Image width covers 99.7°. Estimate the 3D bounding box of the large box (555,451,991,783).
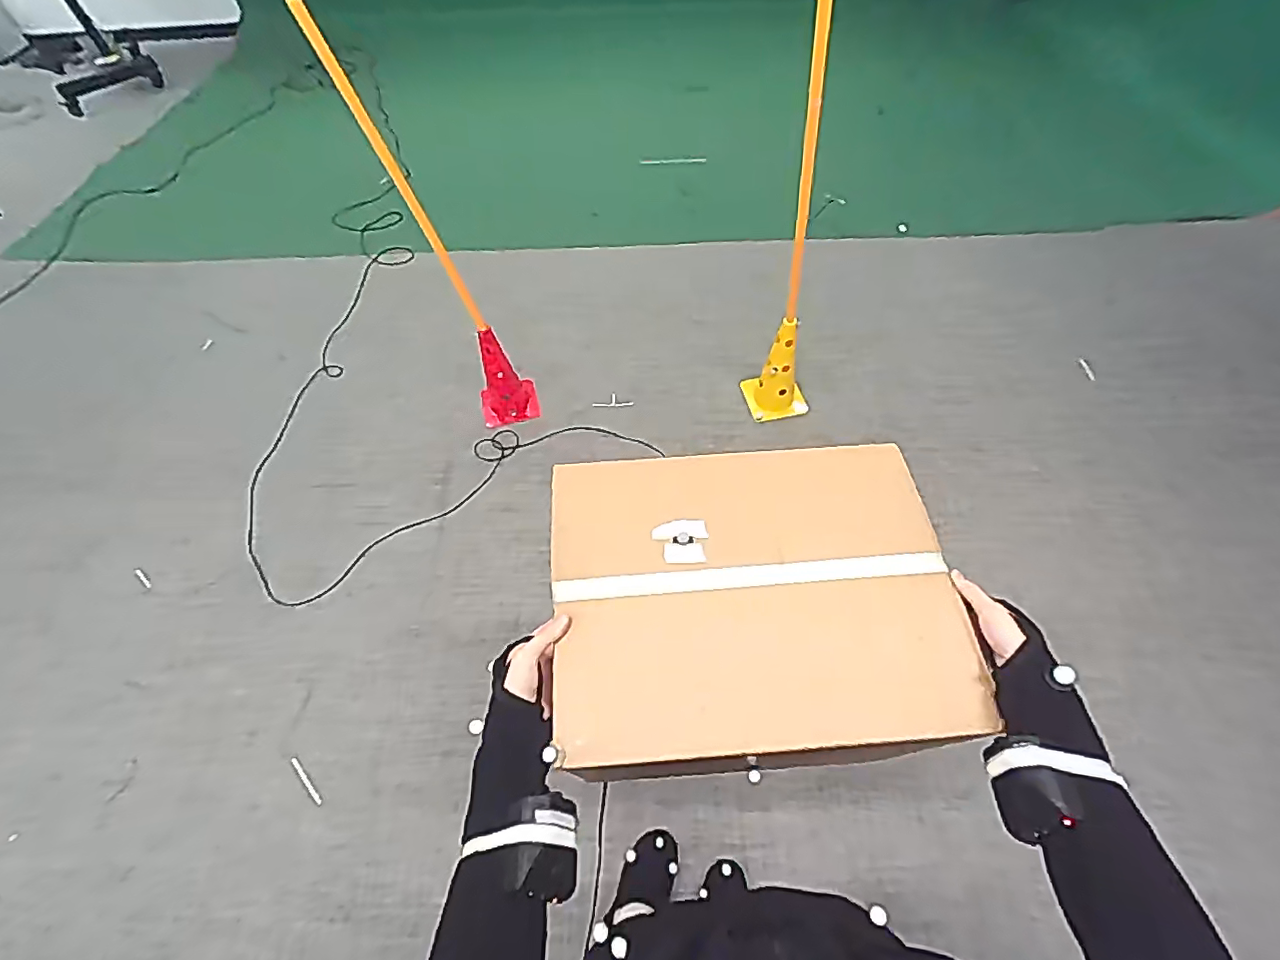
[{"bbox_3d":[0.117,0.189,0.689,0.408,0.320,0.320,-5,58,-1],"label":"large box"}]
